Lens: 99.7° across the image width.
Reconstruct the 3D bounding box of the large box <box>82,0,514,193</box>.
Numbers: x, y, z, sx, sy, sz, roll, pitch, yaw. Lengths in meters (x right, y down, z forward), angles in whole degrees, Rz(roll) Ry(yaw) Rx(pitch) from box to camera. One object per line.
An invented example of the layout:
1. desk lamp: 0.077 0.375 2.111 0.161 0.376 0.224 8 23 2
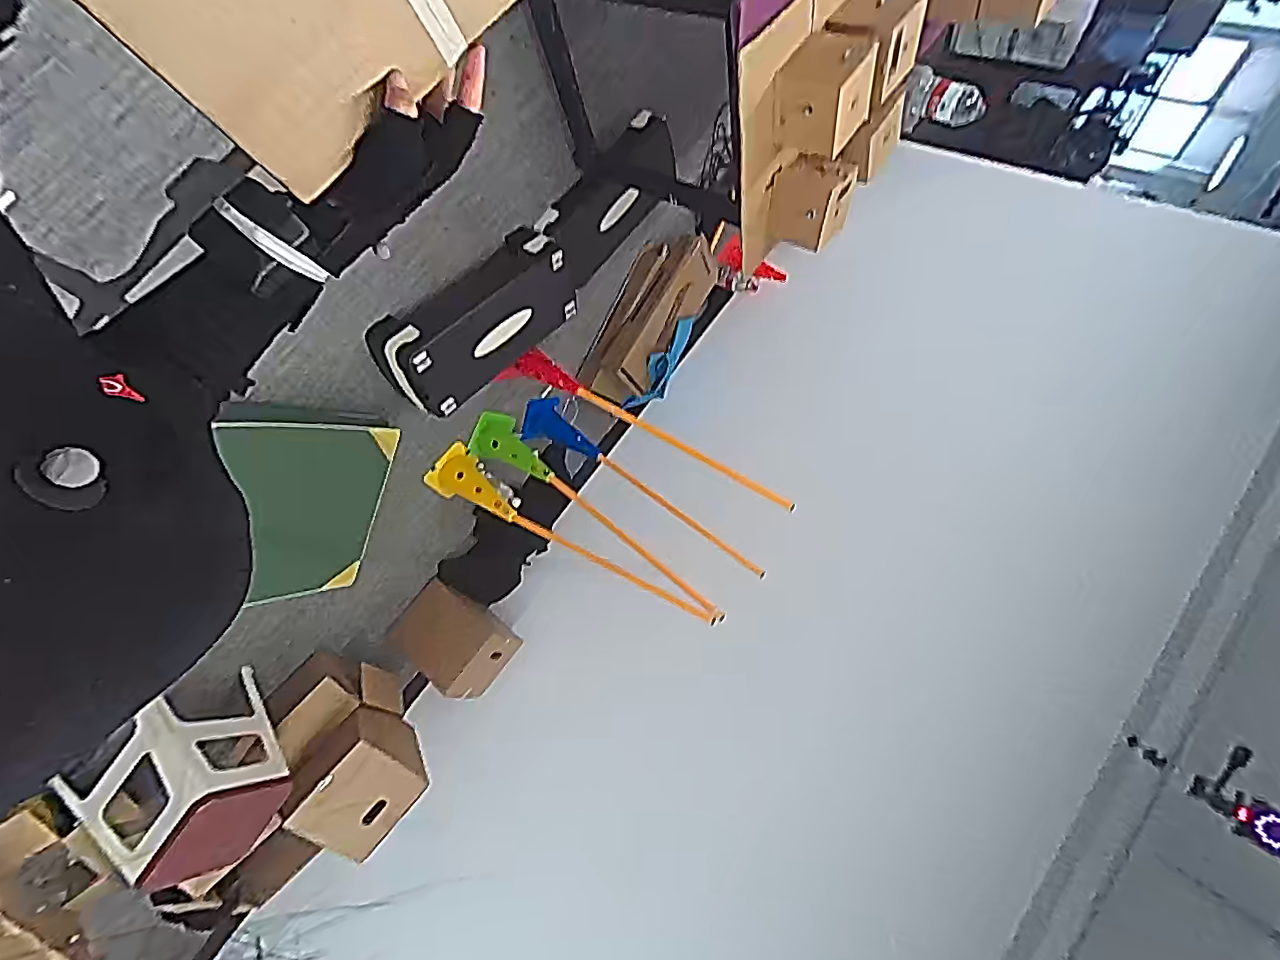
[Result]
1. large box: -0.298 -0.474 0.292 0.320 0.320 0.408 -44 156 0
